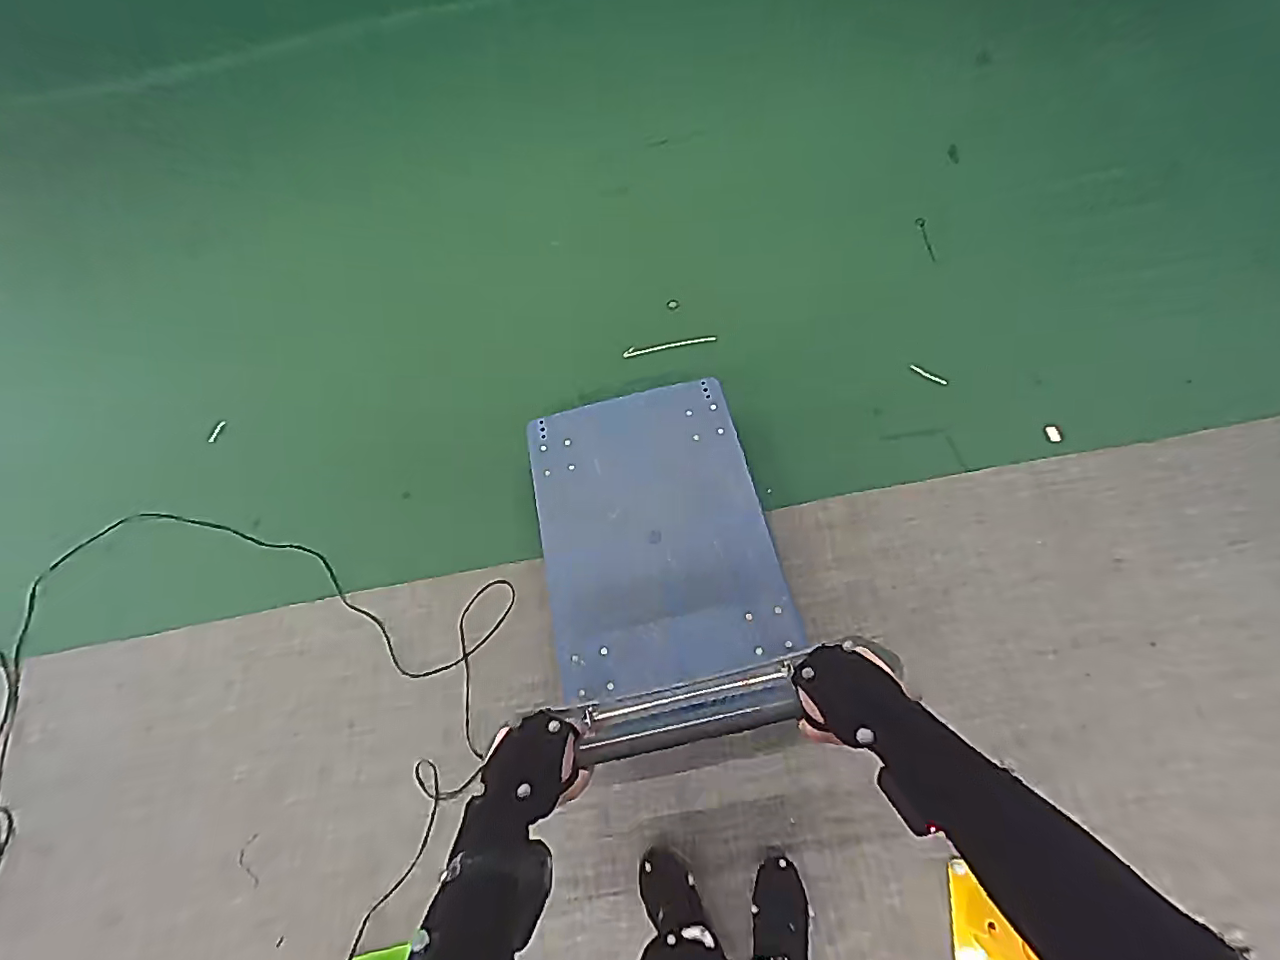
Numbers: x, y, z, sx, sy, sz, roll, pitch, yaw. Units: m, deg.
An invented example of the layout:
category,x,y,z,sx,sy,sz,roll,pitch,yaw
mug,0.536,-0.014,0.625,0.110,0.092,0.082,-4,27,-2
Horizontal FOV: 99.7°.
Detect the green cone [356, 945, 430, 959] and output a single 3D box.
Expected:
category,x,y,z,sx,sy,sz,roll,pitch,yaw
green cone,-0.574,1.088,1.031,0.202,0.368,0.200,-16,65,2
